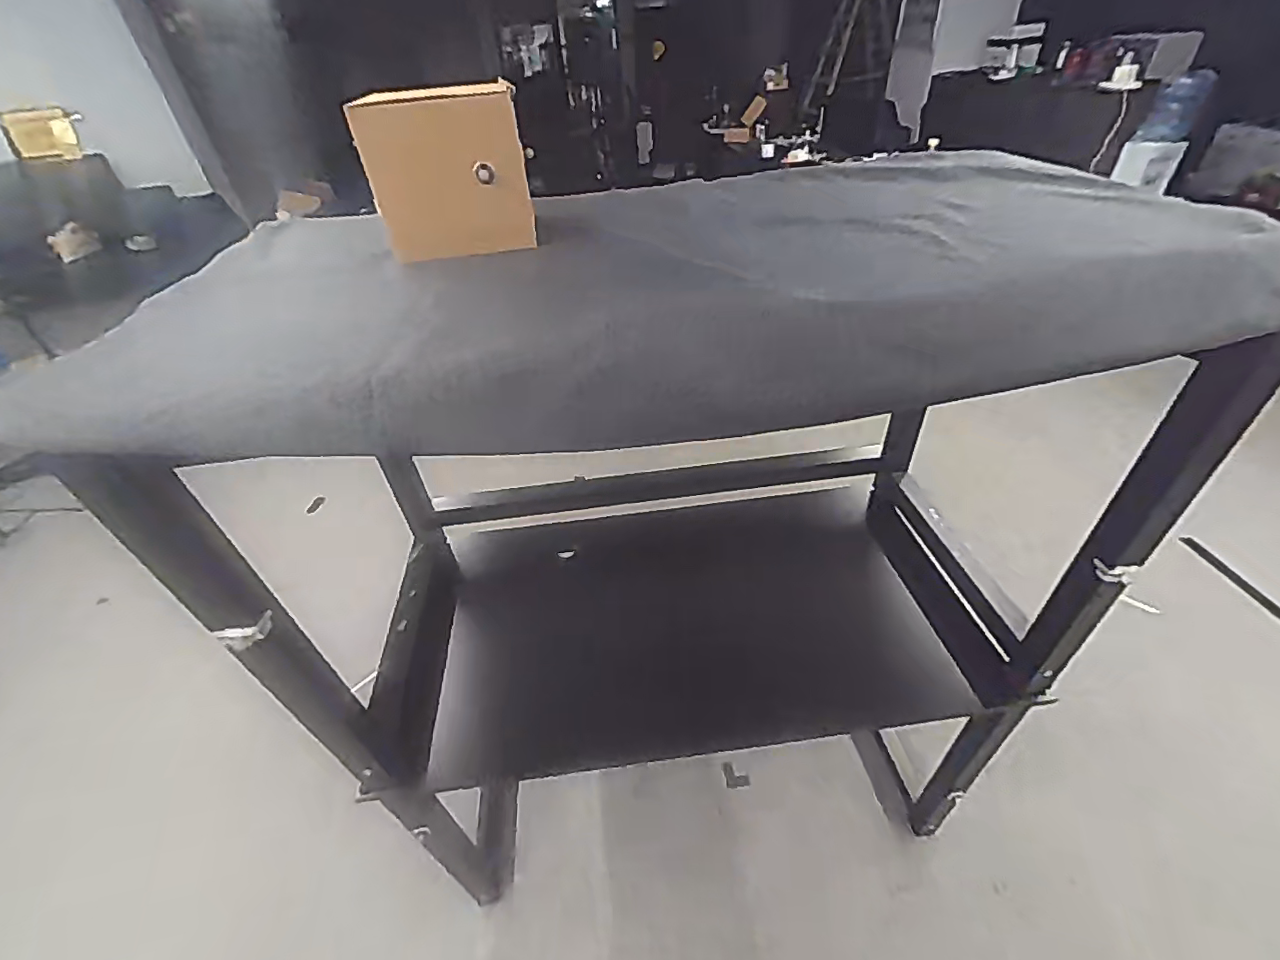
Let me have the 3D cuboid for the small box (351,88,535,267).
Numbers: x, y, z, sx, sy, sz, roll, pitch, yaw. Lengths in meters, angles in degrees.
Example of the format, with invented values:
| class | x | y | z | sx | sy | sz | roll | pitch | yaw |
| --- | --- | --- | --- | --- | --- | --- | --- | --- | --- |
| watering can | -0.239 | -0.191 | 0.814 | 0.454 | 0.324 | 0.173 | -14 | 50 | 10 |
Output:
| class | x | y | z | sx | sy | sz | roll | pitch | yaw |
| --- | --- | --- | --- | --- | --- | --- | --- | --- | --- |
| small box | -0.232 | -0.388 | 0.694 | 0.179 | 0.176 | 0.168 | -9 | 40 | -6 |
